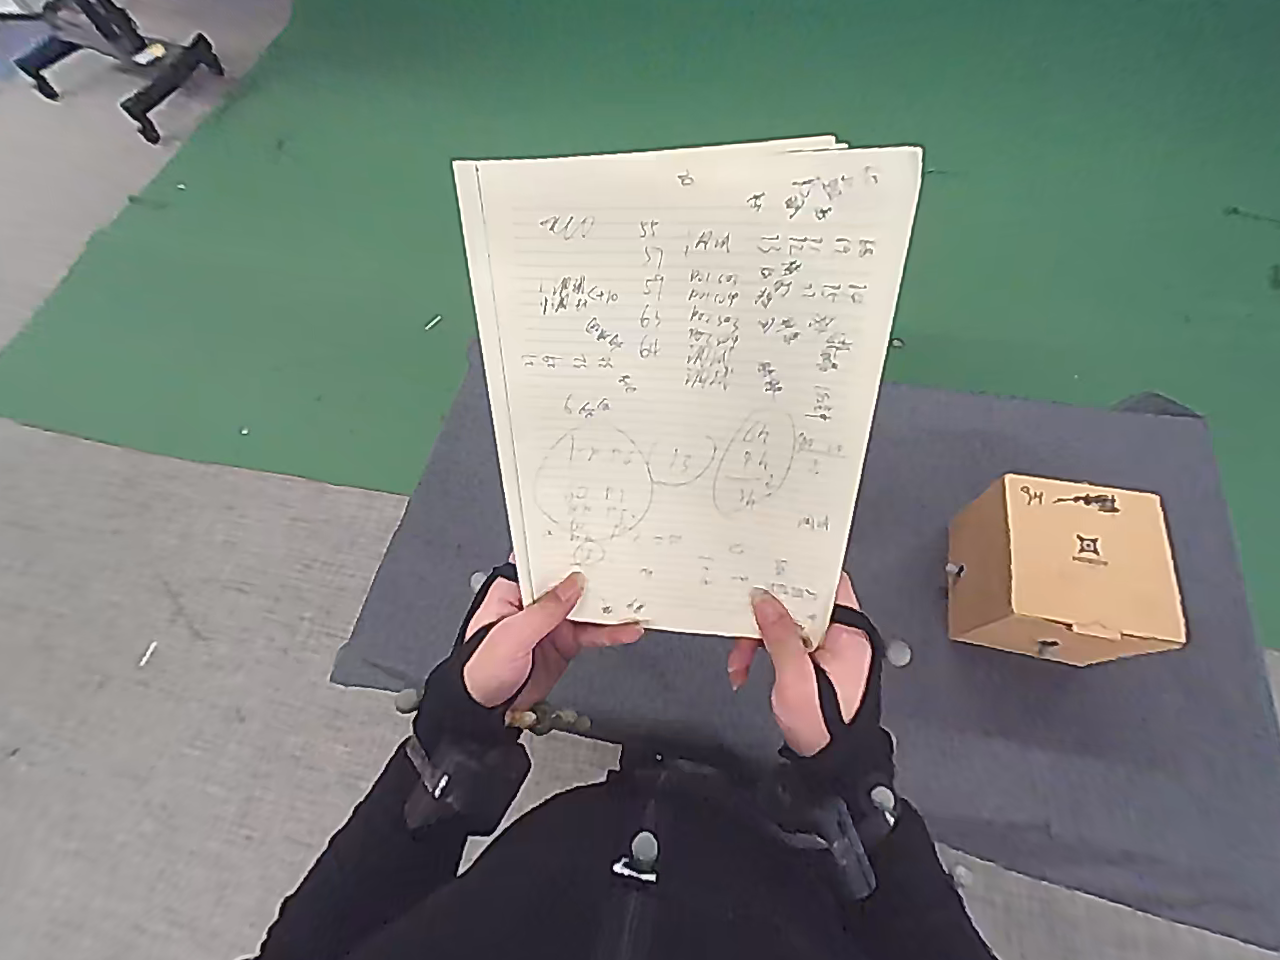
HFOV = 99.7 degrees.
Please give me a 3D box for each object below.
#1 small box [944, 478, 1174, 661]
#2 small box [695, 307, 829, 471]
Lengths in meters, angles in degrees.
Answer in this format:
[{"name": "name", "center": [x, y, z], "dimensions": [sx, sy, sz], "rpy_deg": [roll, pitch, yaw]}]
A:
[{"name": "small box", "center": [0.505, 0.120, 0.681], "dimensions": [0.168, 0.176, 0.179], "rpy_deg": [10, 67, 10]}, {"name": "small box", "center": [0.178, -0.130, 0.815], "dimensions": [0.168, 0.176, 0.179], "rpy_deg": [9, 66, 8]}]
